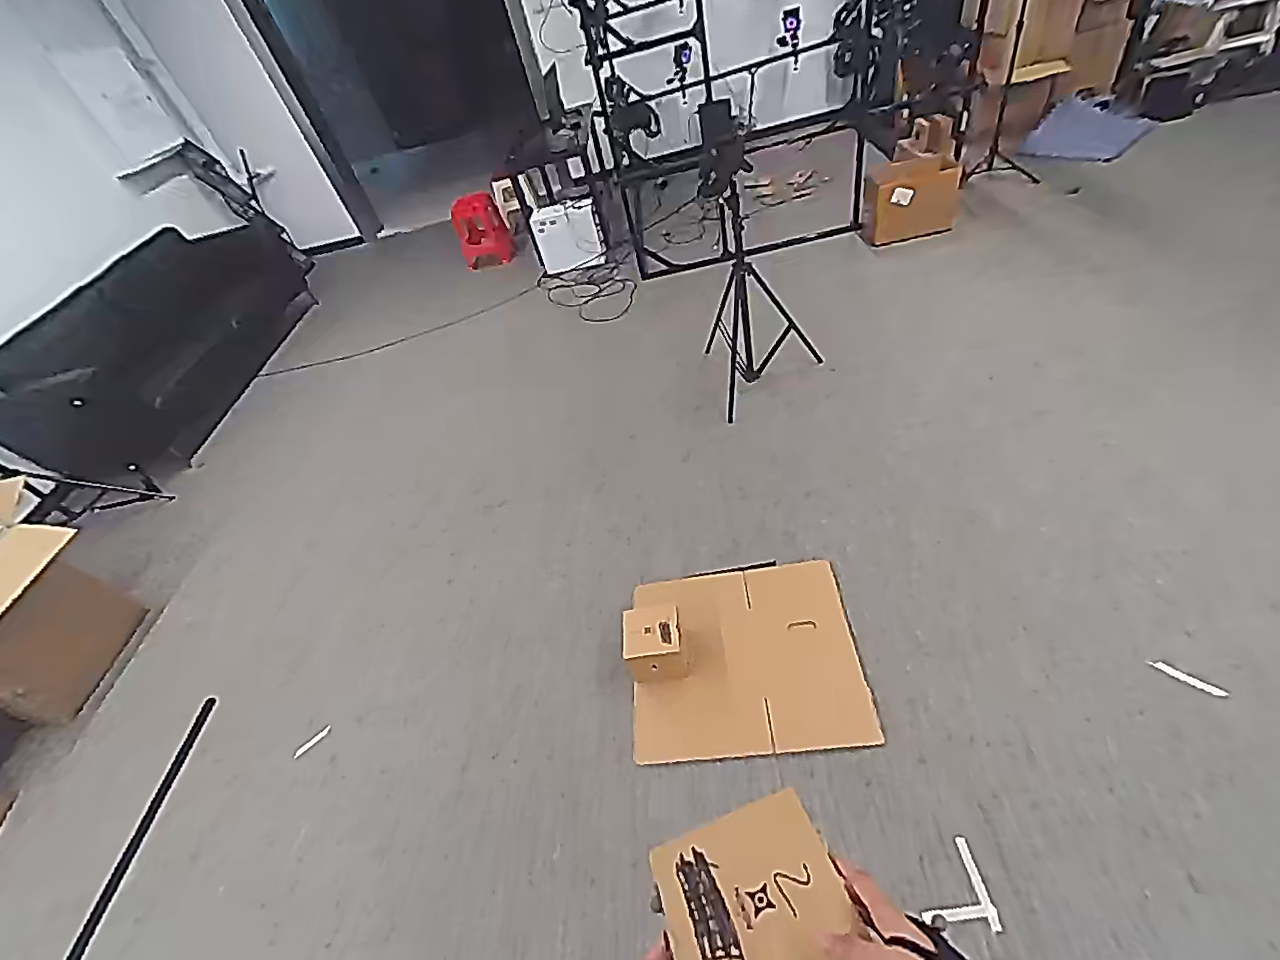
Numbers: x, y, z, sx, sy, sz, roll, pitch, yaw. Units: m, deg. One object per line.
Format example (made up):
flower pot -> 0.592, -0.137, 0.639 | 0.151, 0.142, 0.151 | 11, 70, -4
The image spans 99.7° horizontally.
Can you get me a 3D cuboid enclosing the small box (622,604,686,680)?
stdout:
small box -> 0.047, 0.513, 1.710 | 0.179, 0.176, 0.168 | -10, 45, 9
